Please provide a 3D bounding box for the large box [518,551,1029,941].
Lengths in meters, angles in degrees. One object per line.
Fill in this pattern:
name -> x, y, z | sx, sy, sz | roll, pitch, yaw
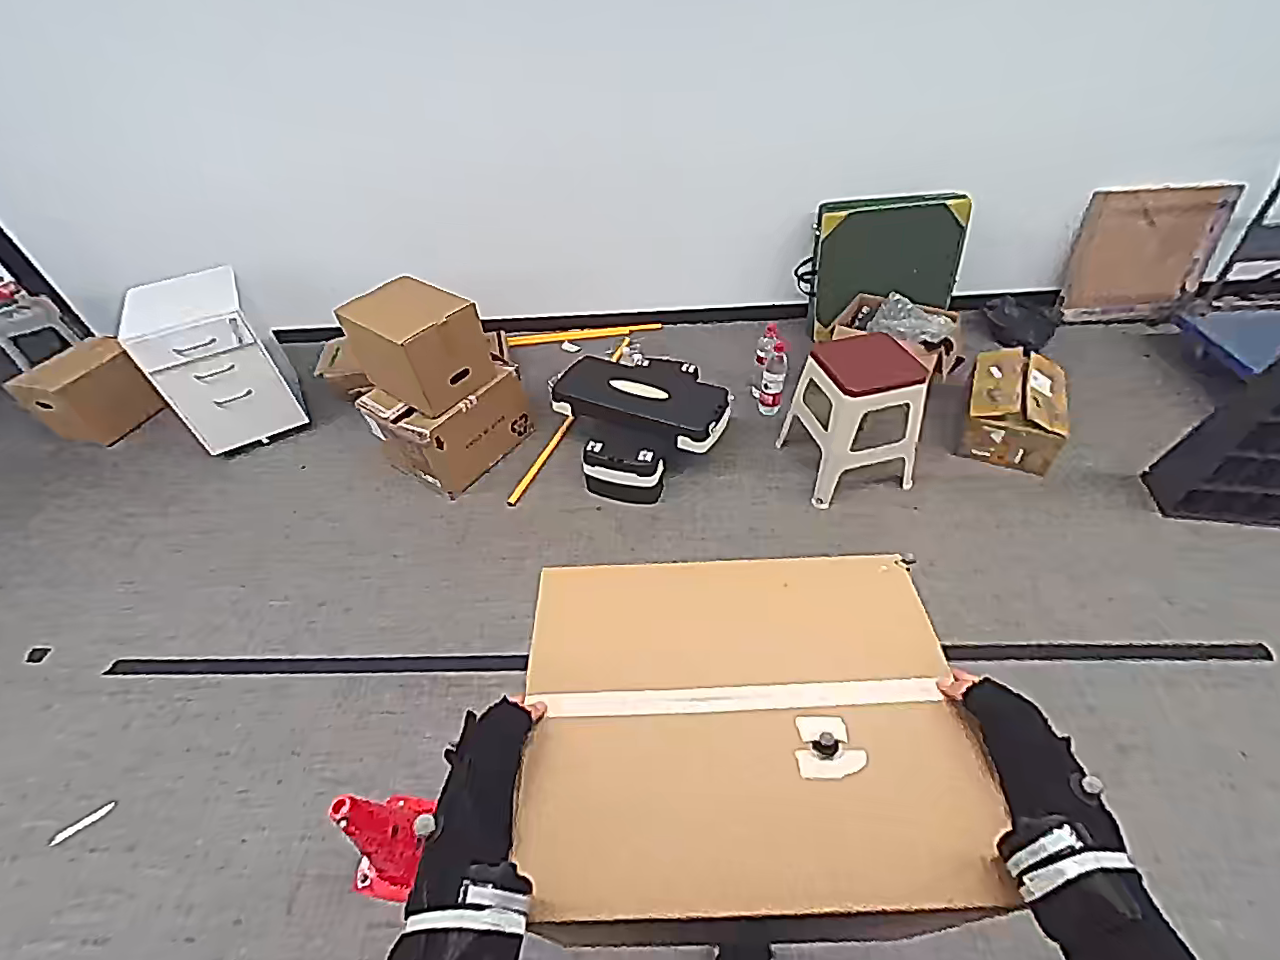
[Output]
large box -> 0.100, 0.305, 0.621 | 0.408, 0.320, 0.320 | -2, 47, 0

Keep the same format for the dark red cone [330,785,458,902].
dark red cone -> -0.548, 0.726, 1.135 | 0.201, 0.394, 0.202 | 3, 46, 7
